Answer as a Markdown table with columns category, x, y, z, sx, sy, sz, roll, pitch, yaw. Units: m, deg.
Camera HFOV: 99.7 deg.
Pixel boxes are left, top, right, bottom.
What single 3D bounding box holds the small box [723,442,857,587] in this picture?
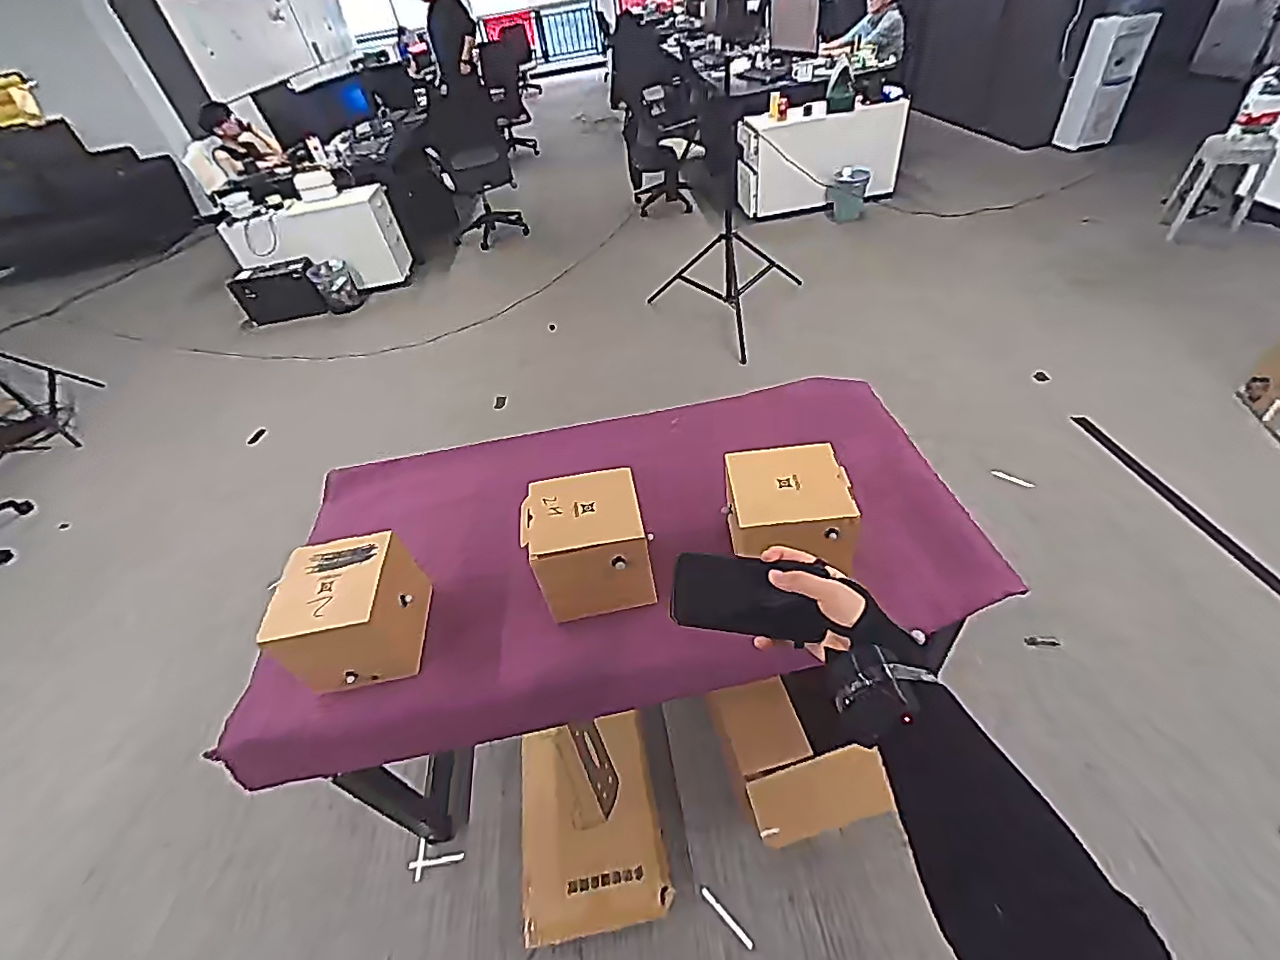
| category | x | y | z | sx | sy | sz | roll | pitch | yaw |
| --- | --- | --- | --- | --- | --- | --- | --- | --- | --- |
| small box | 0.237 | 0.060 | 0.890 | 0.179 | 0.176 | 0.168 | -7 | 43 | 4 |

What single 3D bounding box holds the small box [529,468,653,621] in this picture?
| category | x | y | z | sx | sy | sz | roll | pitch | yaw |
| --- | --- | --- | --- | --- | --- | --- | --- | --- | --- |
| small box | -0.078 | 0.108 | 0.900 | 0.179 | 0.176 | 0.168 | -12 | 41 | -1 |
